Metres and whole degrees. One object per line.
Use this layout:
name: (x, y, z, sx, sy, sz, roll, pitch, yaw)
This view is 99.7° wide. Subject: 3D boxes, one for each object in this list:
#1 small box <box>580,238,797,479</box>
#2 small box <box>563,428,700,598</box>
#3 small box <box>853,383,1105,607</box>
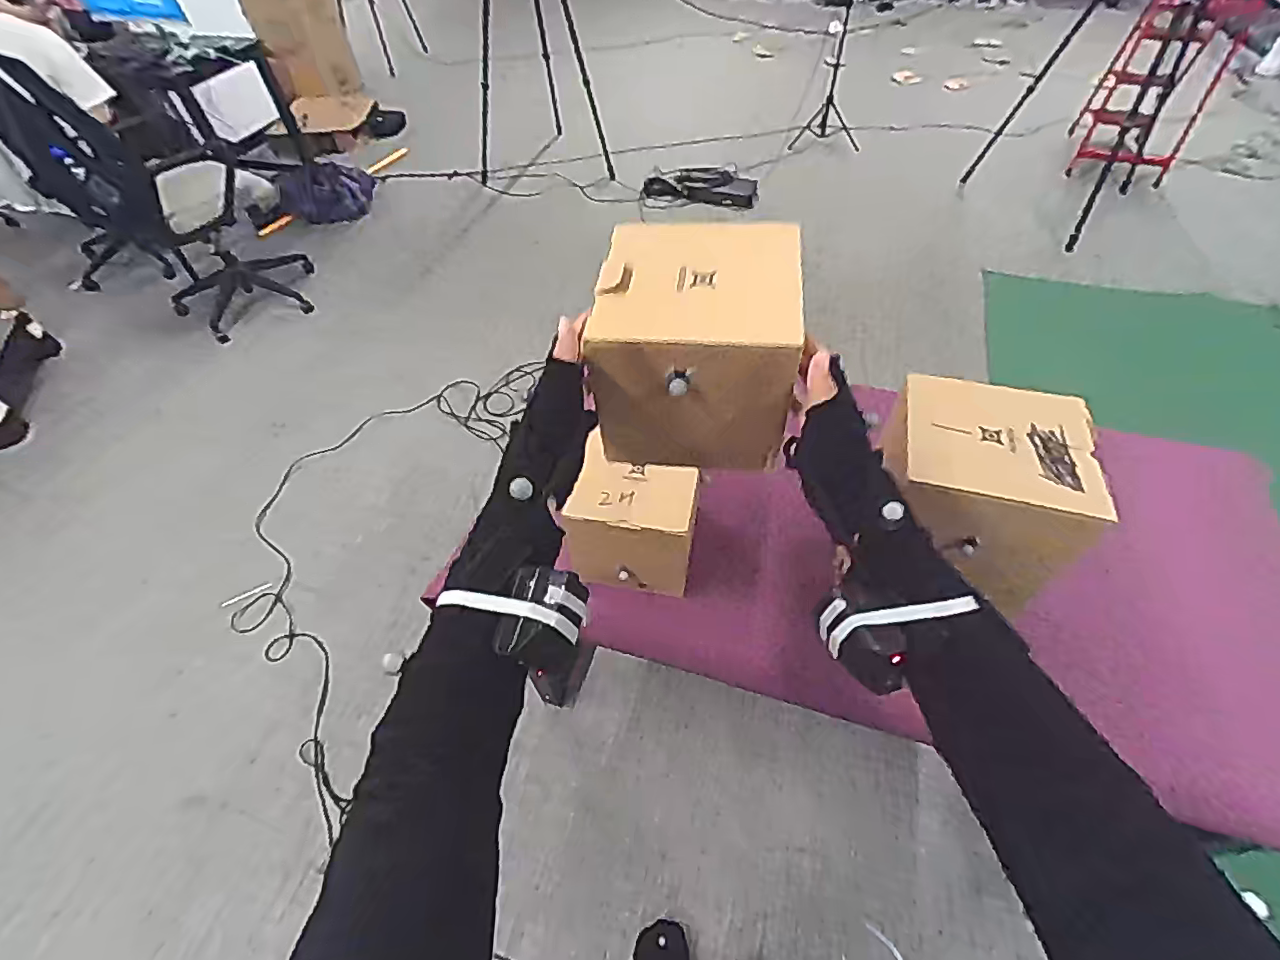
small box: (0.053, -0.116, 0.540, 0.179, 0.176, 0.168, 4, 56, 8)
small box: (-0.004, 0.047, 0.799, 0.168, 0.176, 0.179, 9, 51, 8)
small box: (0.357, 0.021, 0.604, 0.179, 0.176, 0.168, 13, 52, 13)
